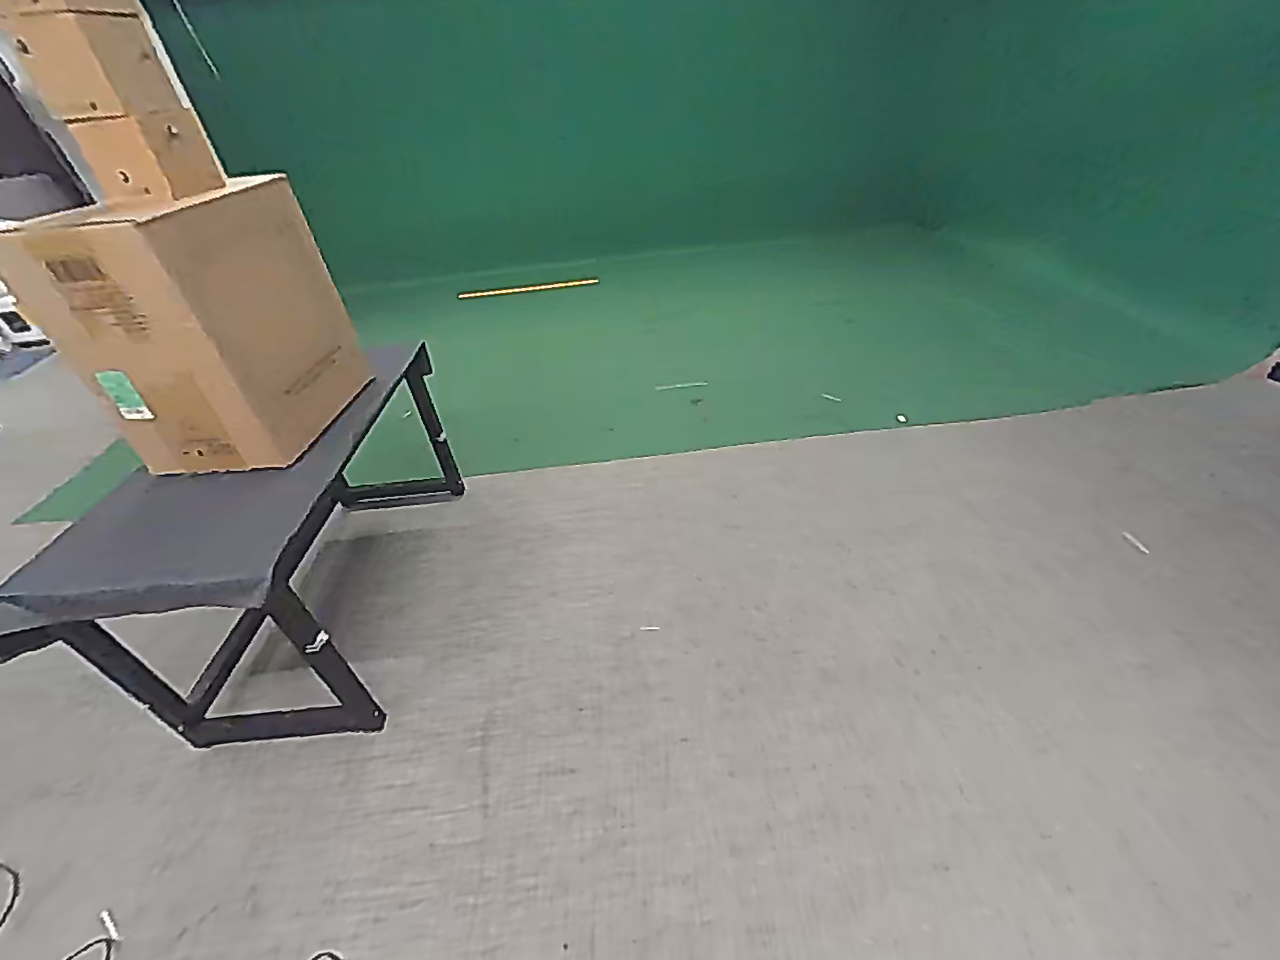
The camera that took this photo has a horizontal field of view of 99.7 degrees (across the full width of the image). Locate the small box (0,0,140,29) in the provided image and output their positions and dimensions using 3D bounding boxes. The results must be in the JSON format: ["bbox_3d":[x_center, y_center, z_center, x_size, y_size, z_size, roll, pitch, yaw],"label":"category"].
[{"bbox_3d":[-1.141,-0.992,1.051,0.168,0.176,0.179,1,38,7],"label":"small box"}]

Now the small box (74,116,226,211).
[{"bbox_3d":[-1.119,-0.738,1.259,0.168,0.176,0.179,1,39,5],"label":"small box"}]
